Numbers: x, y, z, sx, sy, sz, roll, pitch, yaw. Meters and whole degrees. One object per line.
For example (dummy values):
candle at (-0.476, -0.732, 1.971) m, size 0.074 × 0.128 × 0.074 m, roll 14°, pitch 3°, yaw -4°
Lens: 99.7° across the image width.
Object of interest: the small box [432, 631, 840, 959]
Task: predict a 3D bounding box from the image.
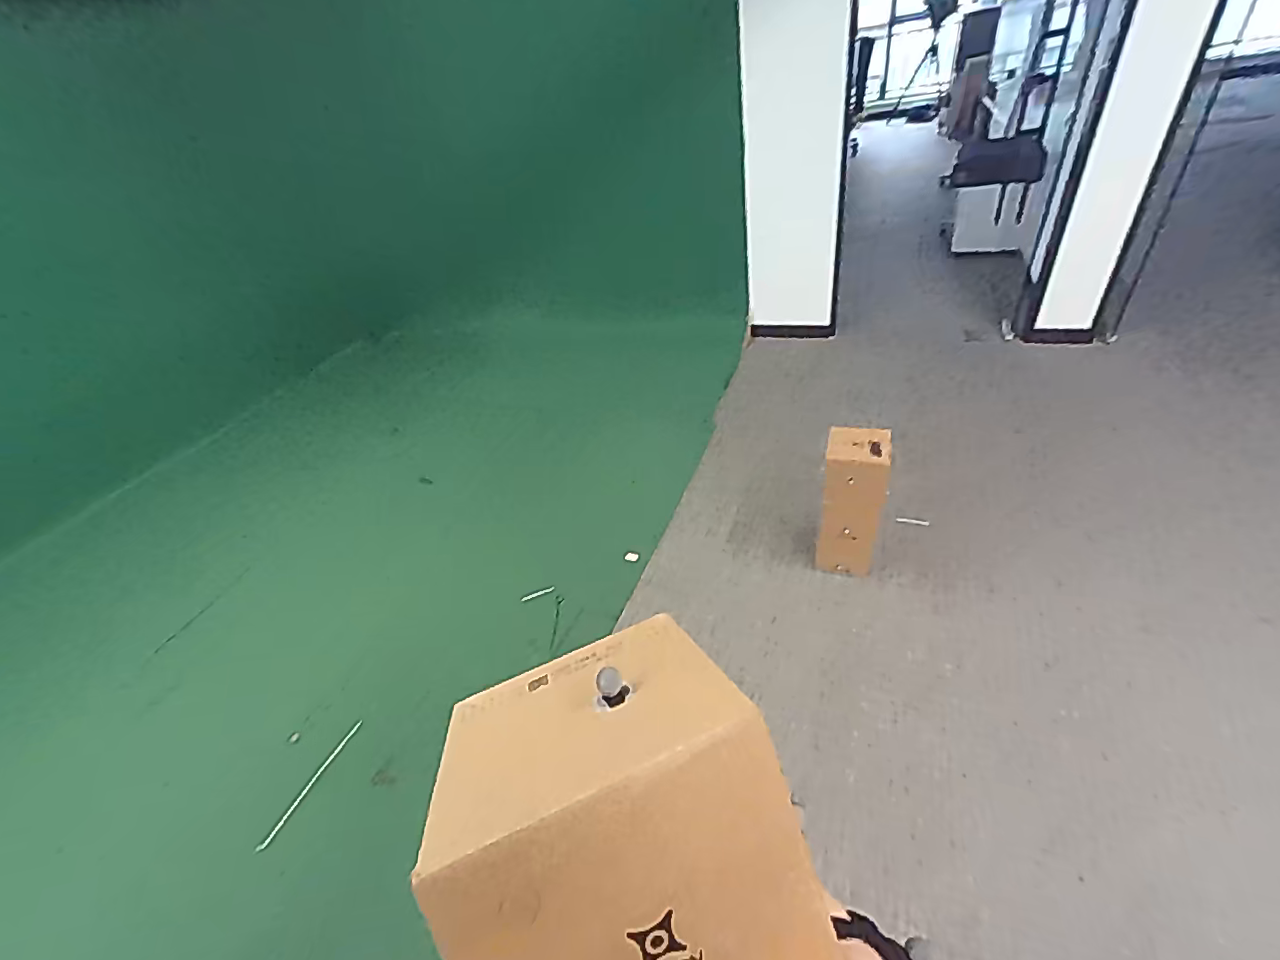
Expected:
small box at (-0.010, 0.213, 0.335) m, size 0.168 × 0.179 × 0.176 m, roll -21°, pitch 8°, yaw -11°

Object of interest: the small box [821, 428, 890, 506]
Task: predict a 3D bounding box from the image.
small box at (0.655, -0.039, 1.646) m, size 0.179 × 0.176 × 0.168 m, roll 6°, pitch 43°, yaw 22°

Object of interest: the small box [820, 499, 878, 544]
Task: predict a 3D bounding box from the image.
small box at (0.678, 0.081, 1.756) m, size 0.168 × 0.176 × 0.179 m, roll 4°, pitch 43°, yaw 21°
